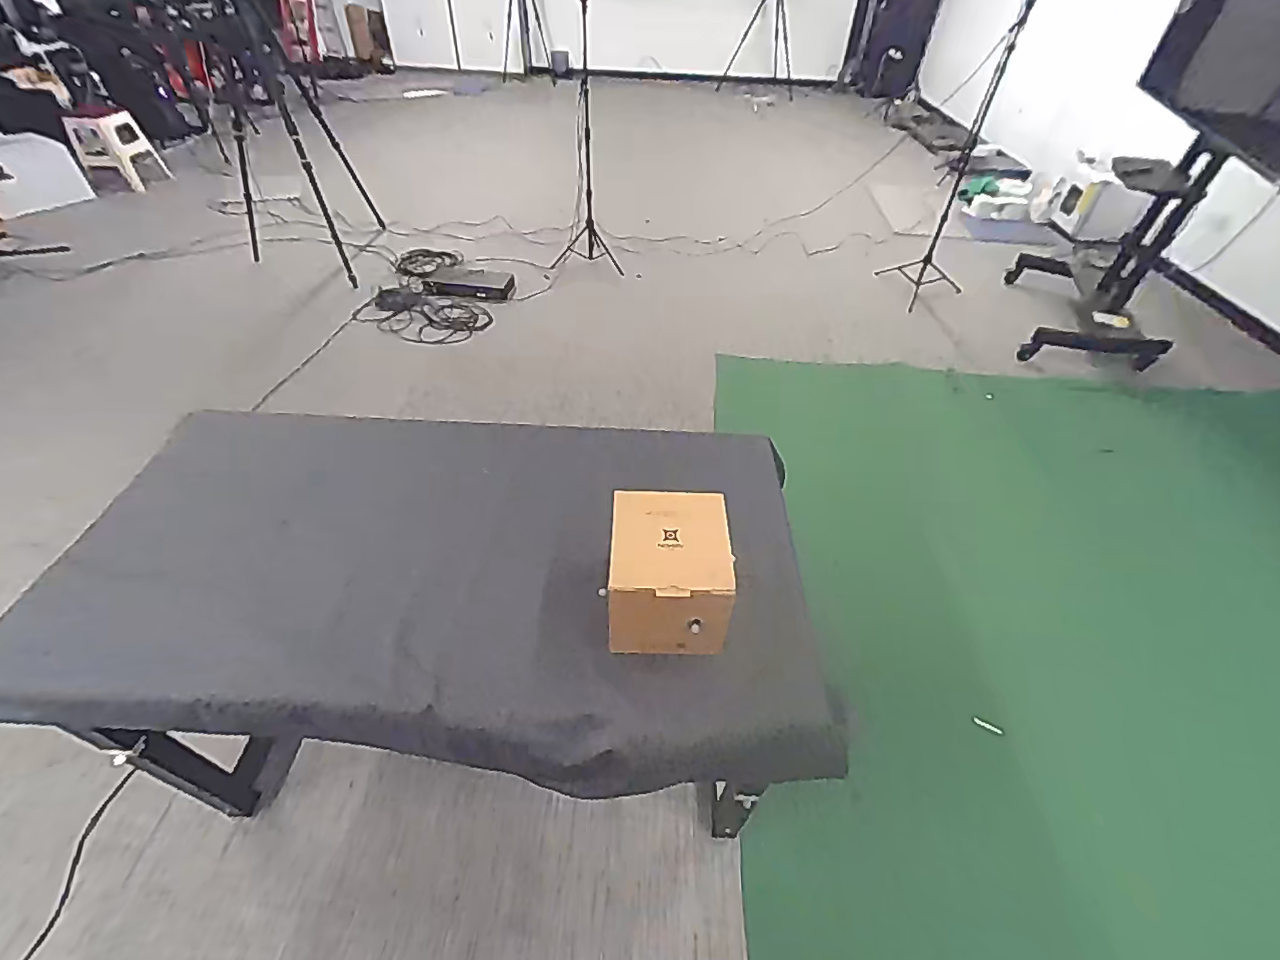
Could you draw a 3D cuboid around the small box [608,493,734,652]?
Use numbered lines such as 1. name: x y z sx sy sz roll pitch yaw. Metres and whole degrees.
1. small box: 0.039 0.140 0.804 0.168 0.176 0.179 2 44 -2
